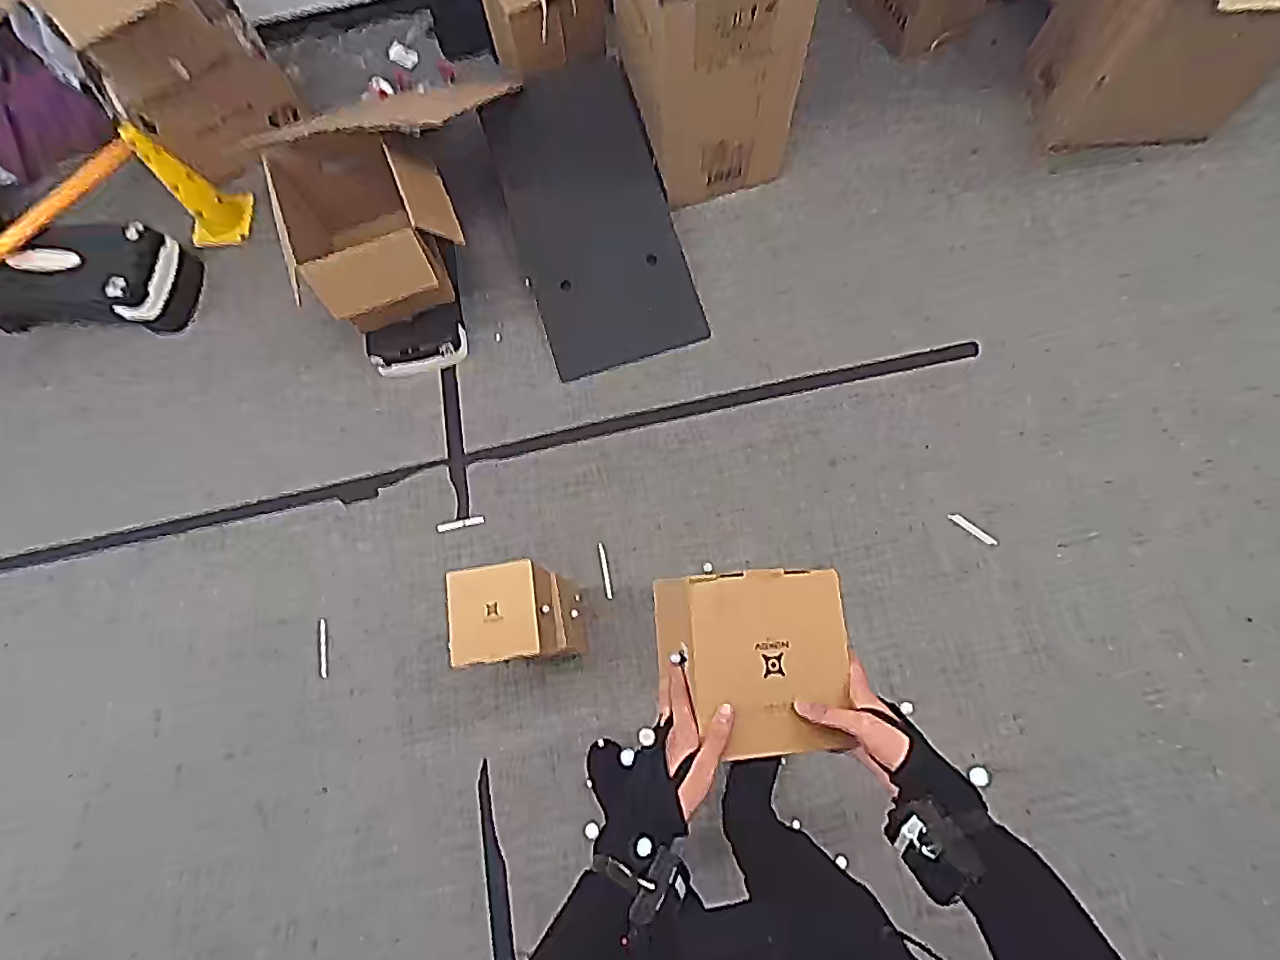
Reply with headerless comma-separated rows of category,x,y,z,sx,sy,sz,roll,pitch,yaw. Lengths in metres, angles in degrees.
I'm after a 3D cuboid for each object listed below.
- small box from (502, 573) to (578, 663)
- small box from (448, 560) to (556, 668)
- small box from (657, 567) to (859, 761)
small box,-0.248,0.318,1.226,0.179,0.176,0.168,-11,73,-1
small box,-0.268,0.268,1.072,0.168,0.176,0.179,-10,74,0
small box,0.117,0.193,0.609,0.168,0.176,0.179,-1,78,-11
